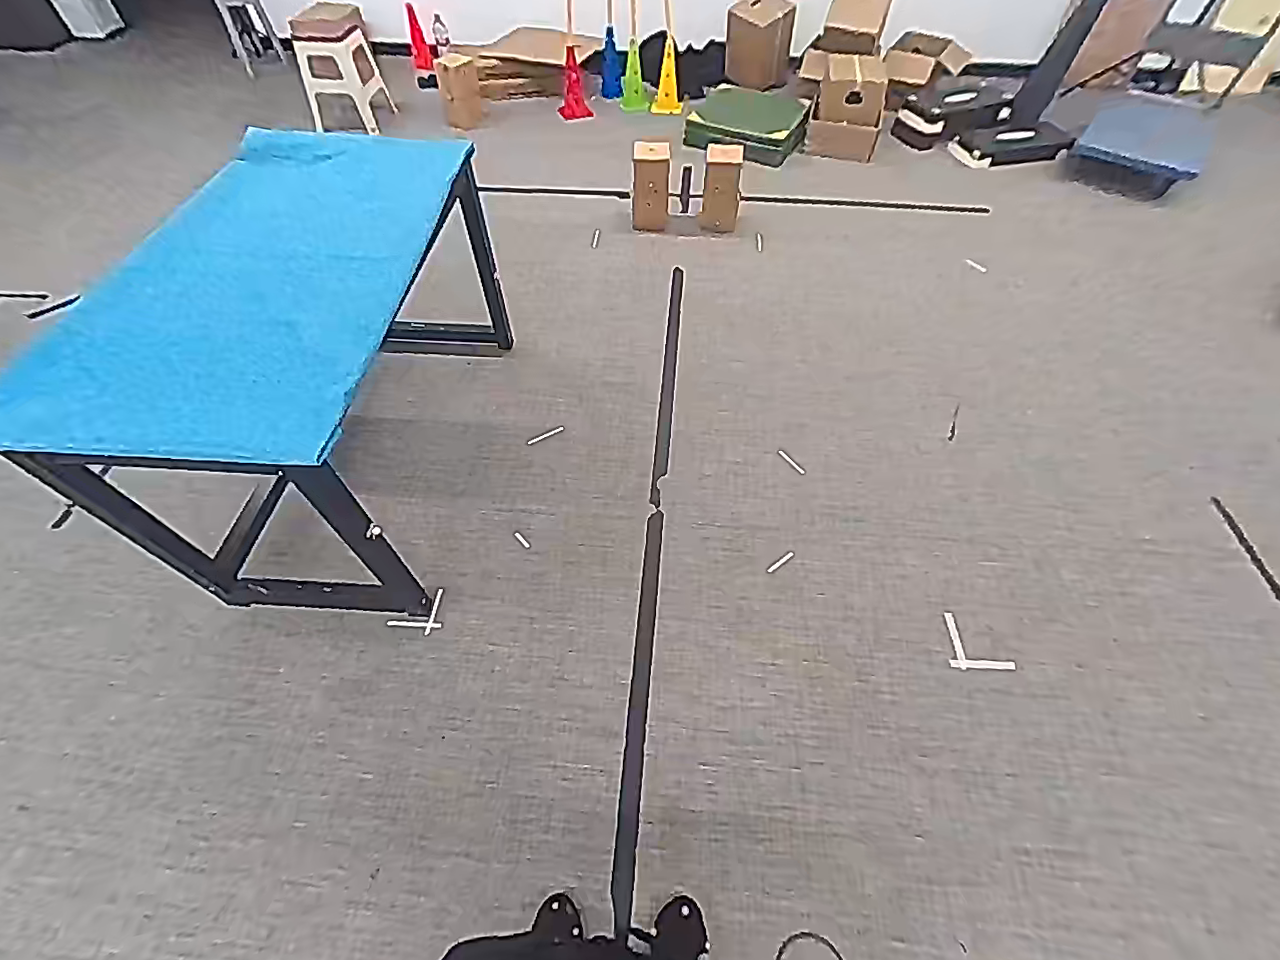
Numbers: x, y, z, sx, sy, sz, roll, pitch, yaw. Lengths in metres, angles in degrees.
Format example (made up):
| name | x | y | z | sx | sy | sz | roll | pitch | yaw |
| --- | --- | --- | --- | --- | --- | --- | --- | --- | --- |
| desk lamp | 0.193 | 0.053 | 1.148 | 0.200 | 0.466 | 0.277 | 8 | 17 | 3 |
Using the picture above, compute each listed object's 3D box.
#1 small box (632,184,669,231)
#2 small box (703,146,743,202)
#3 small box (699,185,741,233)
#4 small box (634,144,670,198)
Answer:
| name | x | y | z | sx | sy | sz | roll | pitch | yaw |
| --- | --- | --- | --- | --- | --- | --- | --- | --- | --- |
| small box | 0.052 | -1.362 | 2.691 | 0.179 | 0.176 | 0.168 | 2 | 55 | 0 |
| small box | 0.389 | -1.448 | 2.559 | 0.168 | 0.176 | 0.179 | 6 | 56 | 5 |
| small box | 0.396 | -1.356 | 2.693 | 0.179 | 0.176 | 0.168 | 8 | 54 | 3 |
| small box | 0.055 | -1.462 | 2.560 | 0.168 | 0.176 | 0.179 | 0 | 55 | 0 |
